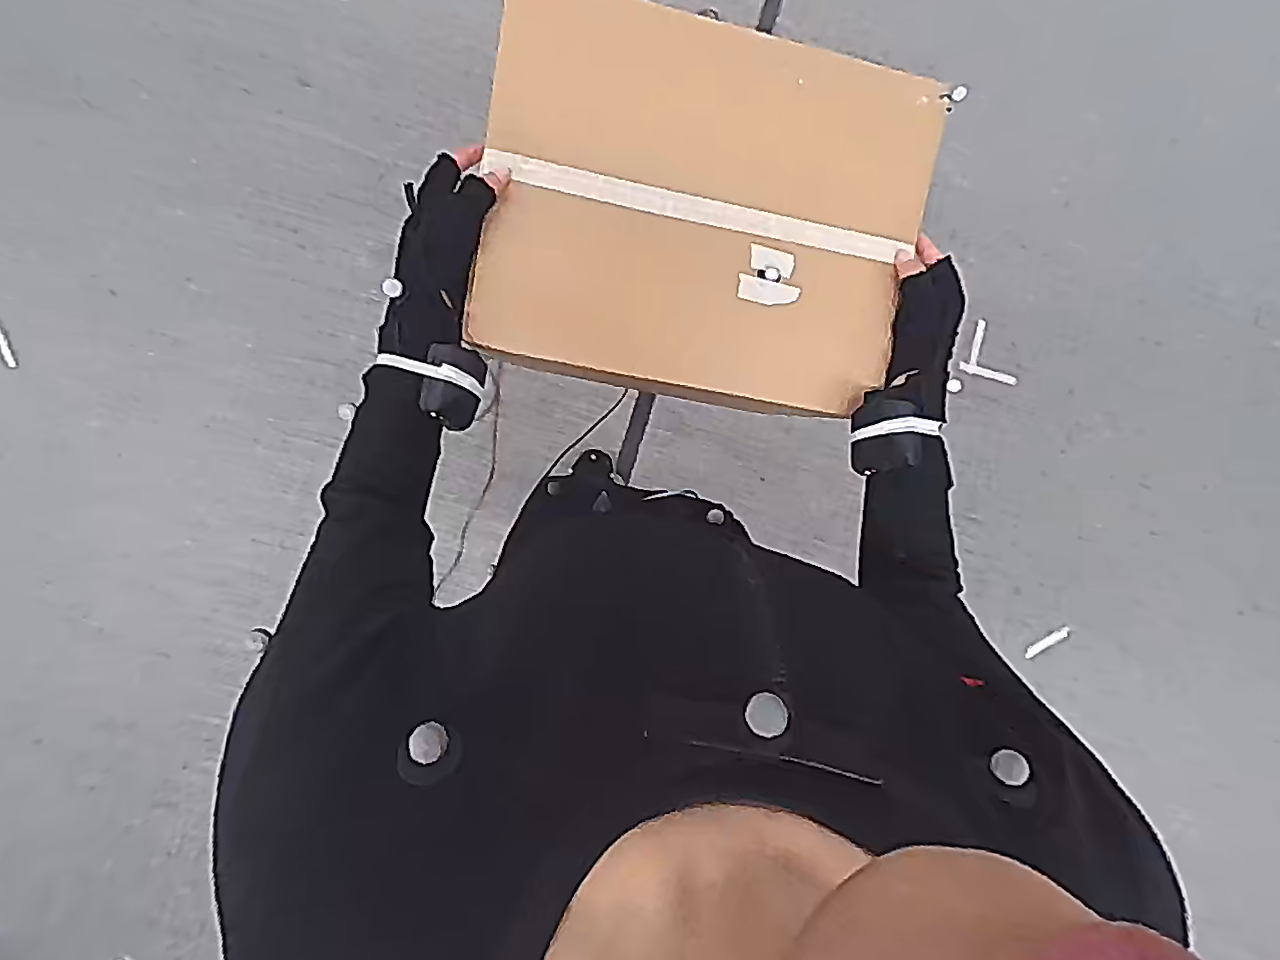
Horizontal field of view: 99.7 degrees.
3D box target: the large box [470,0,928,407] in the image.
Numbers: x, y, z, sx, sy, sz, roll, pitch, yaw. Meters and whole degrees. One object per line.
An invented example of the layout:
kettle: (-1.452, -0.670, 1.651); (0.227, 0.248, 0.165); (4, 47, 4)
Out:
large box: (0.039, -0.272, 0.651); (0.408, 0.320, 0.320); (9, 98, -8)
